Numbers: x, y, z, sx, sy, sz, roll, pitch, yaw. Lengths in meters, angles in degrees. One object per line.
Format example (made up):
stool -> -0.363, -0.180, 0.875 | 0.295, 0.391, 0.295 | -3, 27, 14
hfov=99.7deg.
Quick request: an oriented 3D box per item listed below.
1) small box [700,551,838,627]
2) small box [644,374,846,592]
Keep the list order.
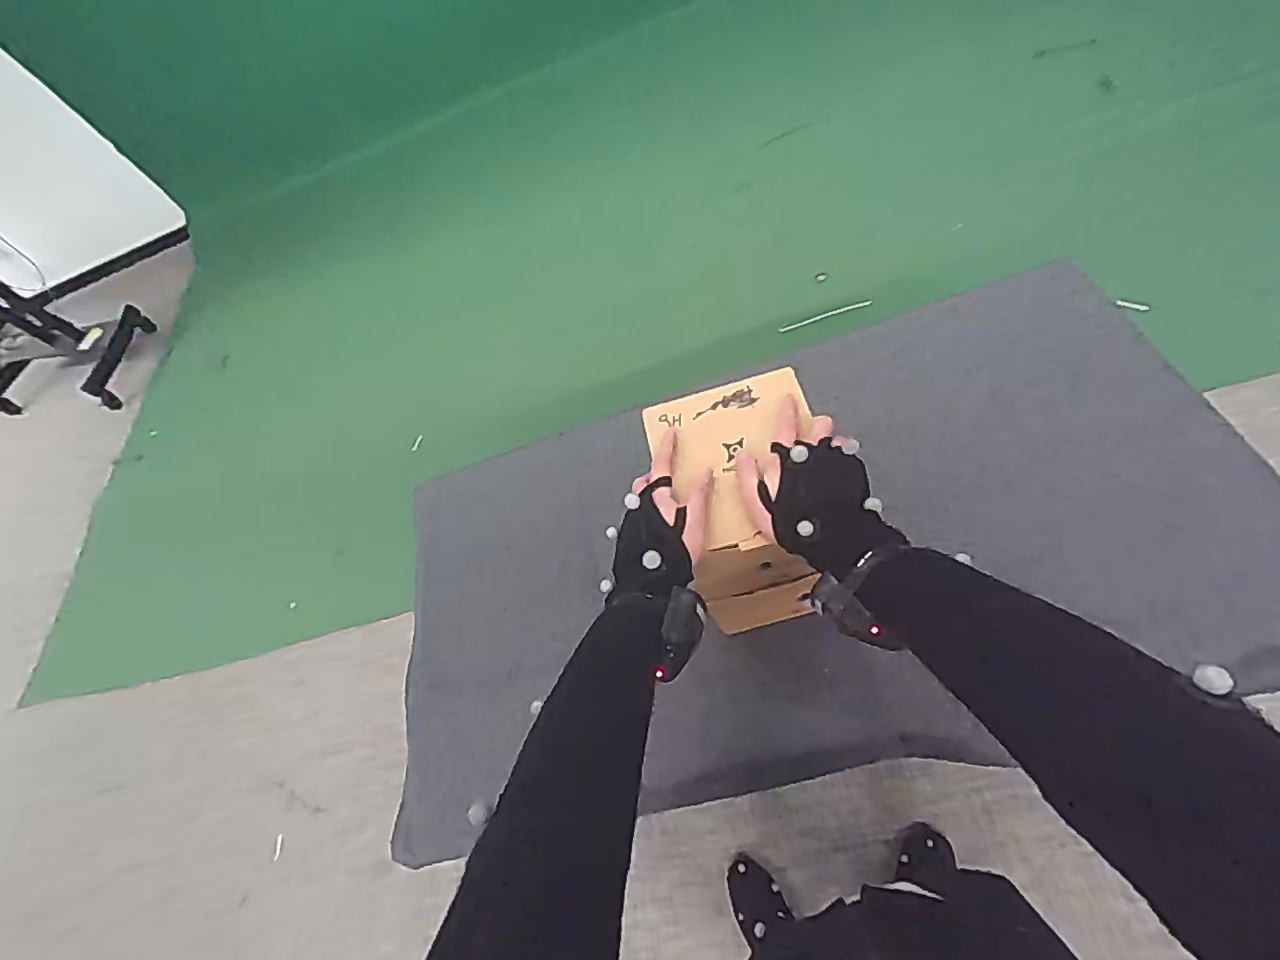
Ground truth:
small box -> 0.159, 0.091, 0.740 | 0.168, 0.176, 0.179 | -17, 58, 7
small box -> 0.114, 0.017, 0.605 | 0.168, 0.176, 0.179 | -15, 63, 6
